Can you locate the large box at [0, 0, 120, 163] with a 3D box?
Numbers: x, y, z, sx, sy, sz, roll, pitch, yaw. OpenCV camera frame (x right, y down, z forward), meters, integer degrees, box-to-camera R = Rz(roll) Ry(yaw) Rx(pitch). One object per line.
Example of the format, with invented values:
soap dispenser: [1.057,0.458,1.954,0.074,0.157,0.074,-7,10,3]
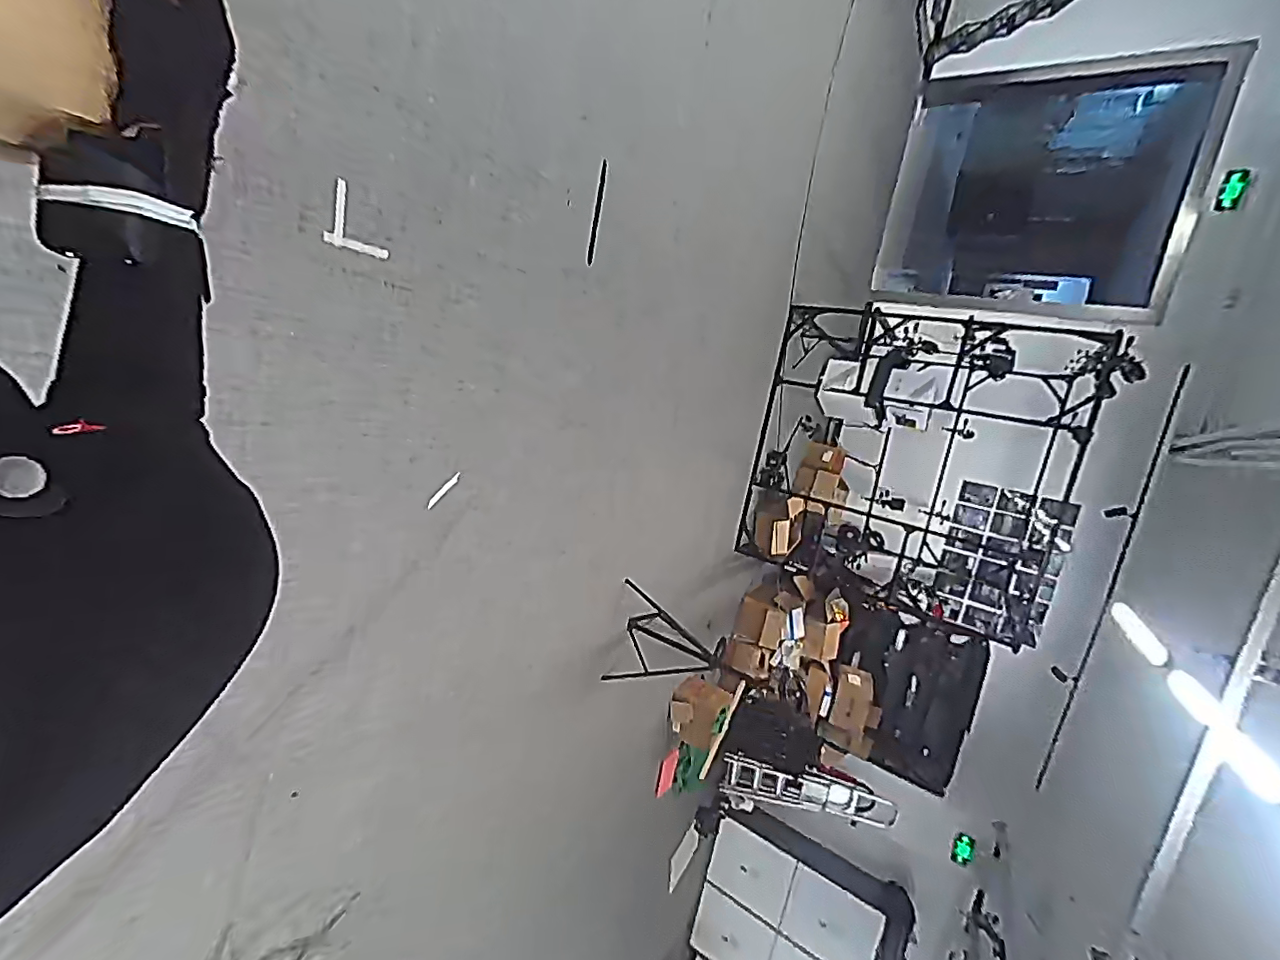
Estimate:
large box: [-0.563,-0.402,0.248,0.408,0.320,0.320,-6,114,-62]
